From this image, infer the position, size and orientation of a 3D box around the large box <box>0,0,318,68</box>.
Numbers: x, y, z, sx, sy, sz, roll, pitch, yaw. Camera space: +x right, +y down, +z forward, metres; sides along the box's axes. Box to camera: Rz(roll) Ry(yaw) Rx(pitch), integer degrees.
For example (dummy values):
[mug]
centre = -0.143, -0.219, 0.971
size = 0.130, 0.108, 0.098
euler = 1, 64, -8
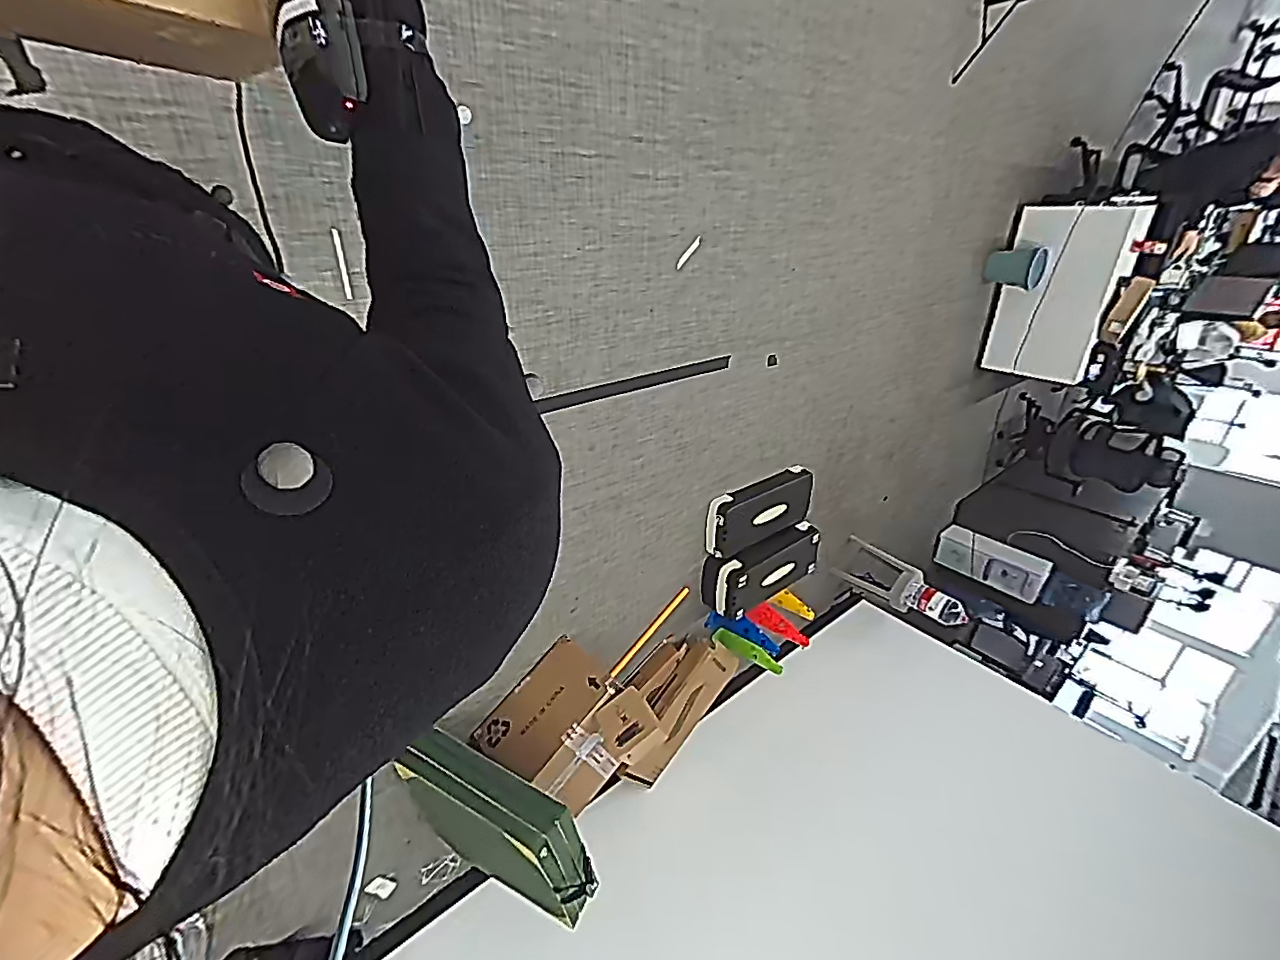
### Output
[large box]
centre = -0.455, -0.455, 0.276
size = 0.408, 0.320, 0.320
euler = -18, 127, -40
